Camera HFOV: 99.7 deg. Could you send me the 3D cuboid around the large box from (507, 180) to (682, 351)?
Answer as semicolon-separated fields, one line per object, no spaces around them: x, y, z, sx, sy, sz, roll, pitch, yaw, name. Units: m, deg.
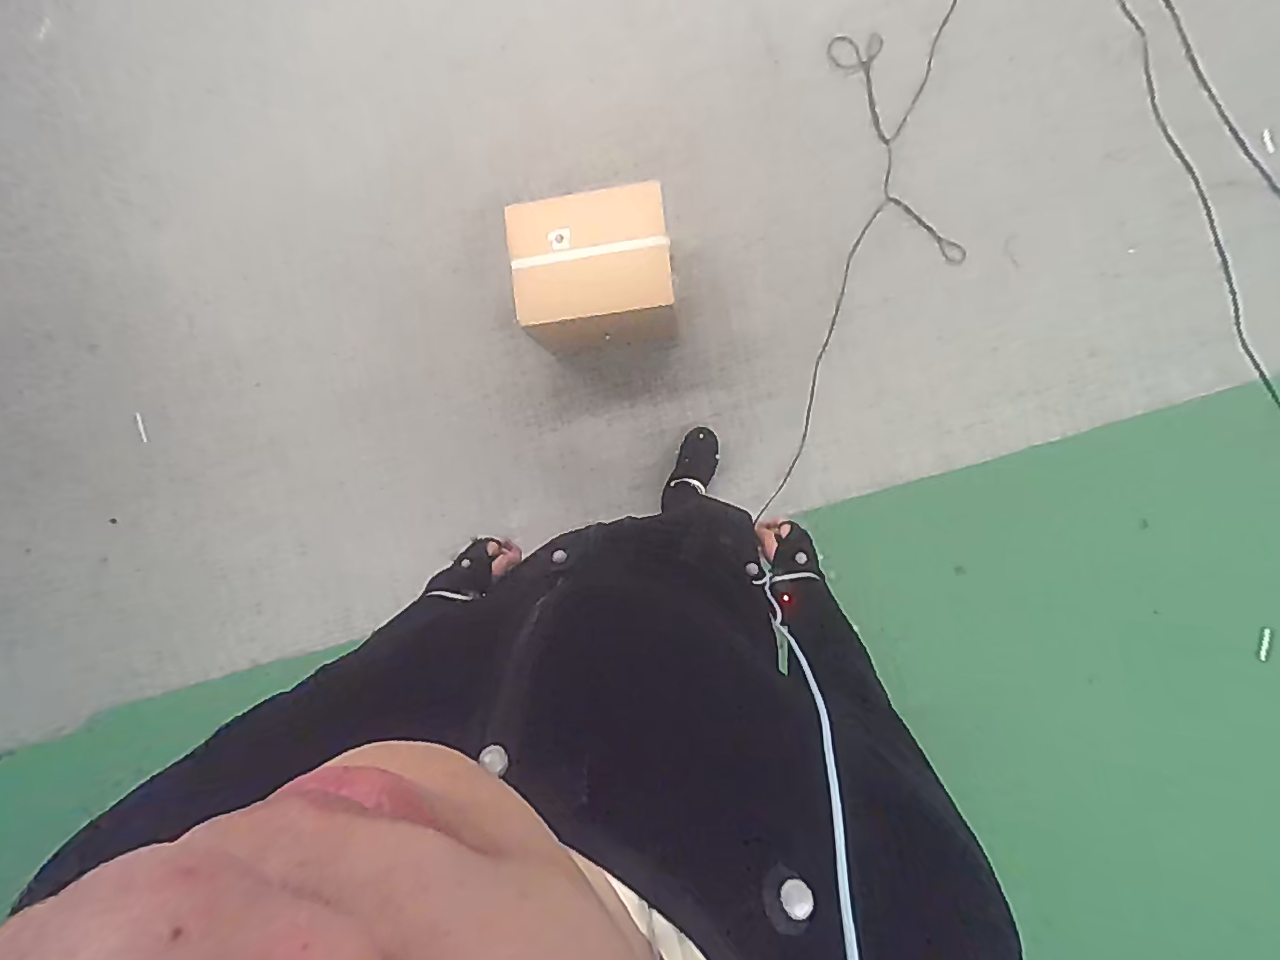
-0.107;-0.566;1.496;0.408;0.320;0.320;-6;89;7;large box
